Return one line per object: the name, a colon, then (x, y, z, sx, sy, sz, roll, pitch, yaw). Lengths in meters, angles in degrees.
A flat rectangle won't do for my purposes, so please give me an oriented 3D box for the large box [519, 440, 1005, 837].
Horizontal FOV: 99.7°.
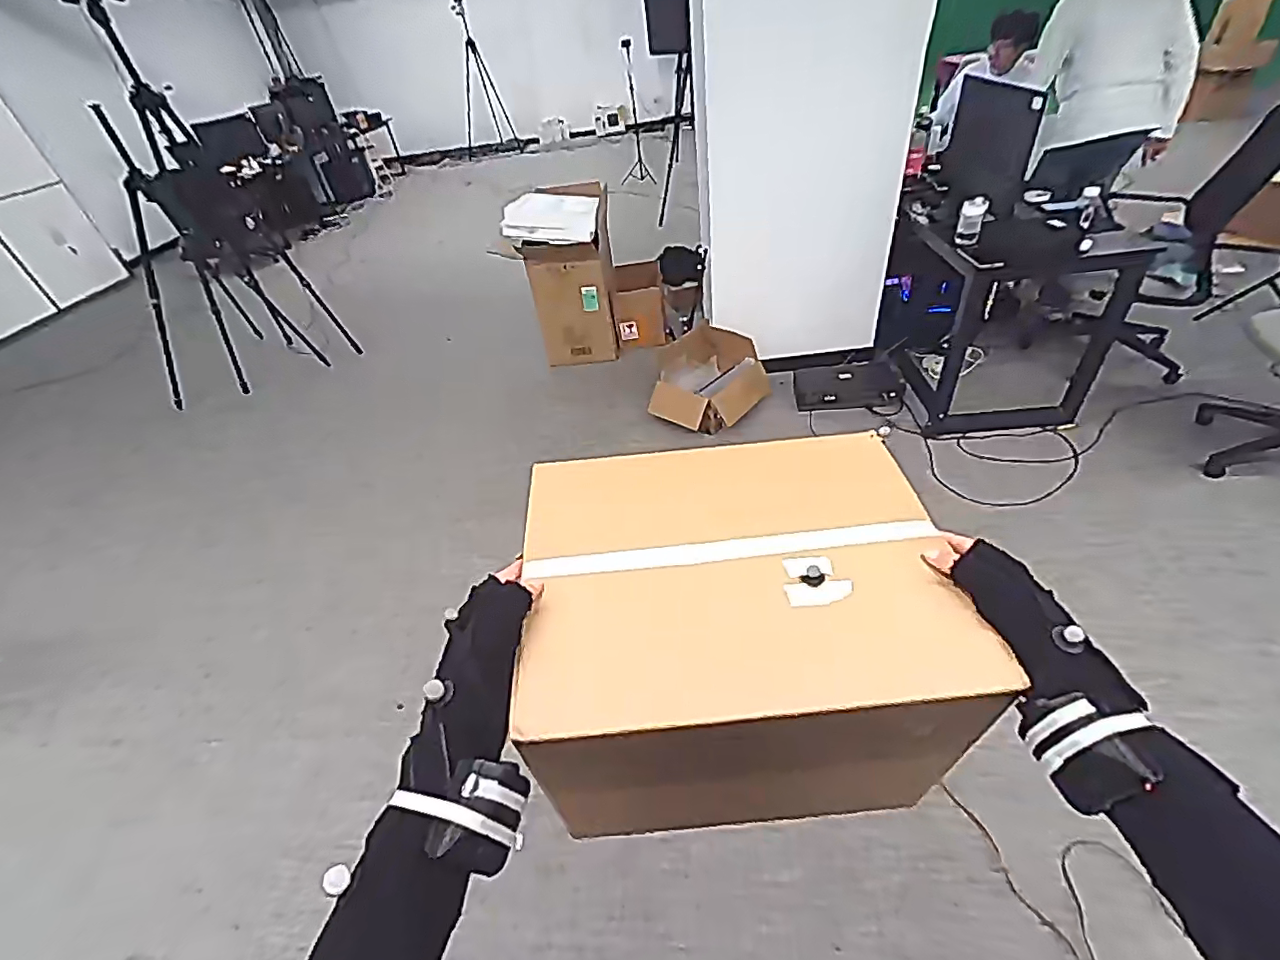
large box: (0.095, 0.185, 0.639, 0.408, 0.320, 0.320, -6, 44, 0)
